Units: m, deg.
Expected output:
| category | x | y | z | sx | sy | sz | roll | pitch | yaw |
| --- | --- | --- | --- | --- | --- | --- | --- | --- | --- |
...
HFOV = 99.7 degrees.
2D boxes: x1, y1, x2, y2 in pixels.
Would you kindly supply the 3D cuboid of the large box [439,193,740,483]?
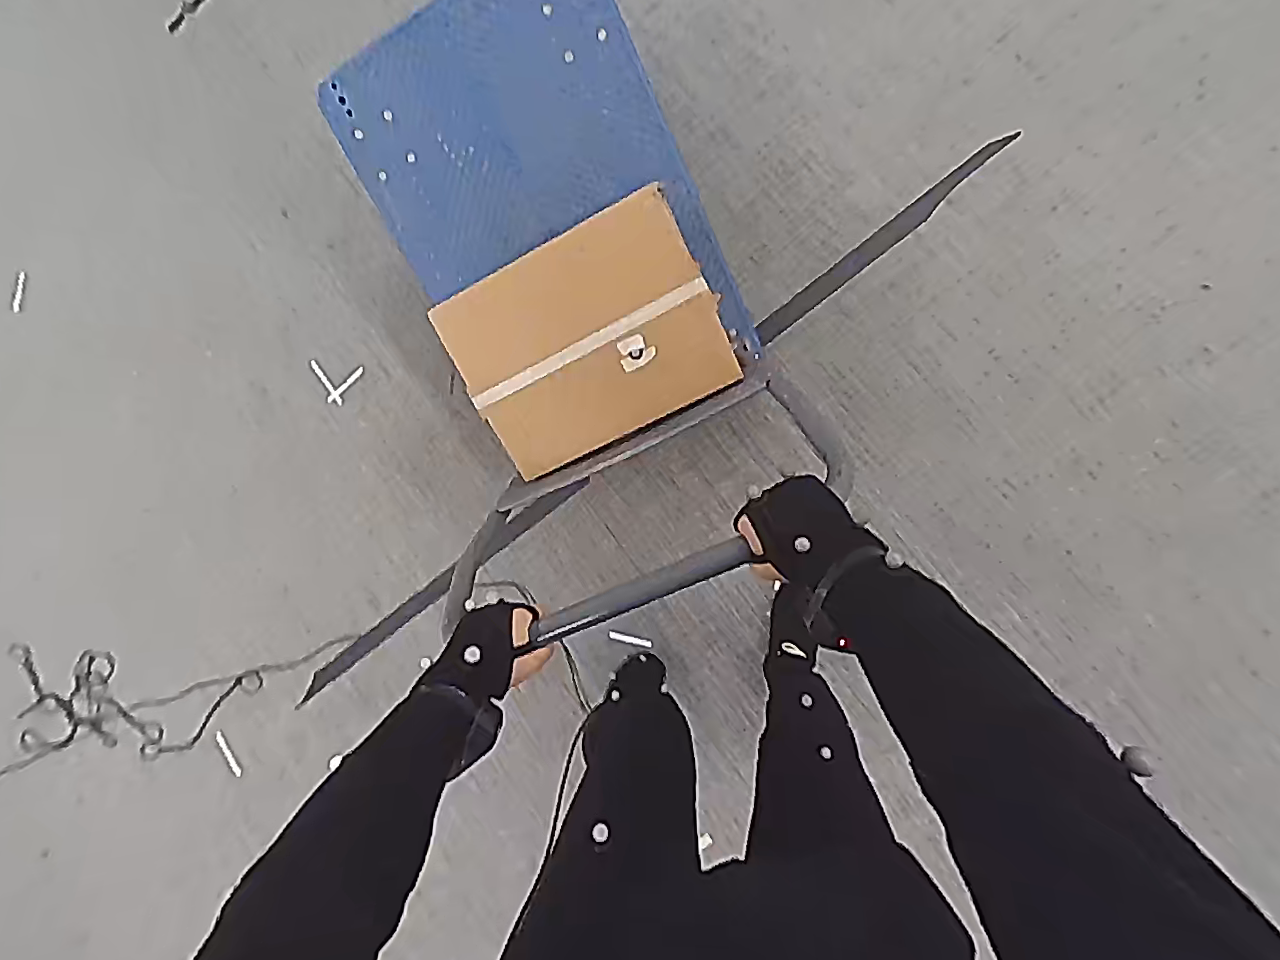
| category | x | y | z | sx | sy | sz | roll | pitch | yaw |
| --- | --- | --- | --- | --- | --- | --- | --- | --- | --- |
| large box | -0.076 | -0.250 | 1.007 | 0.408 | 0.320 | 0.320 | -26 | 105 | 10 |
